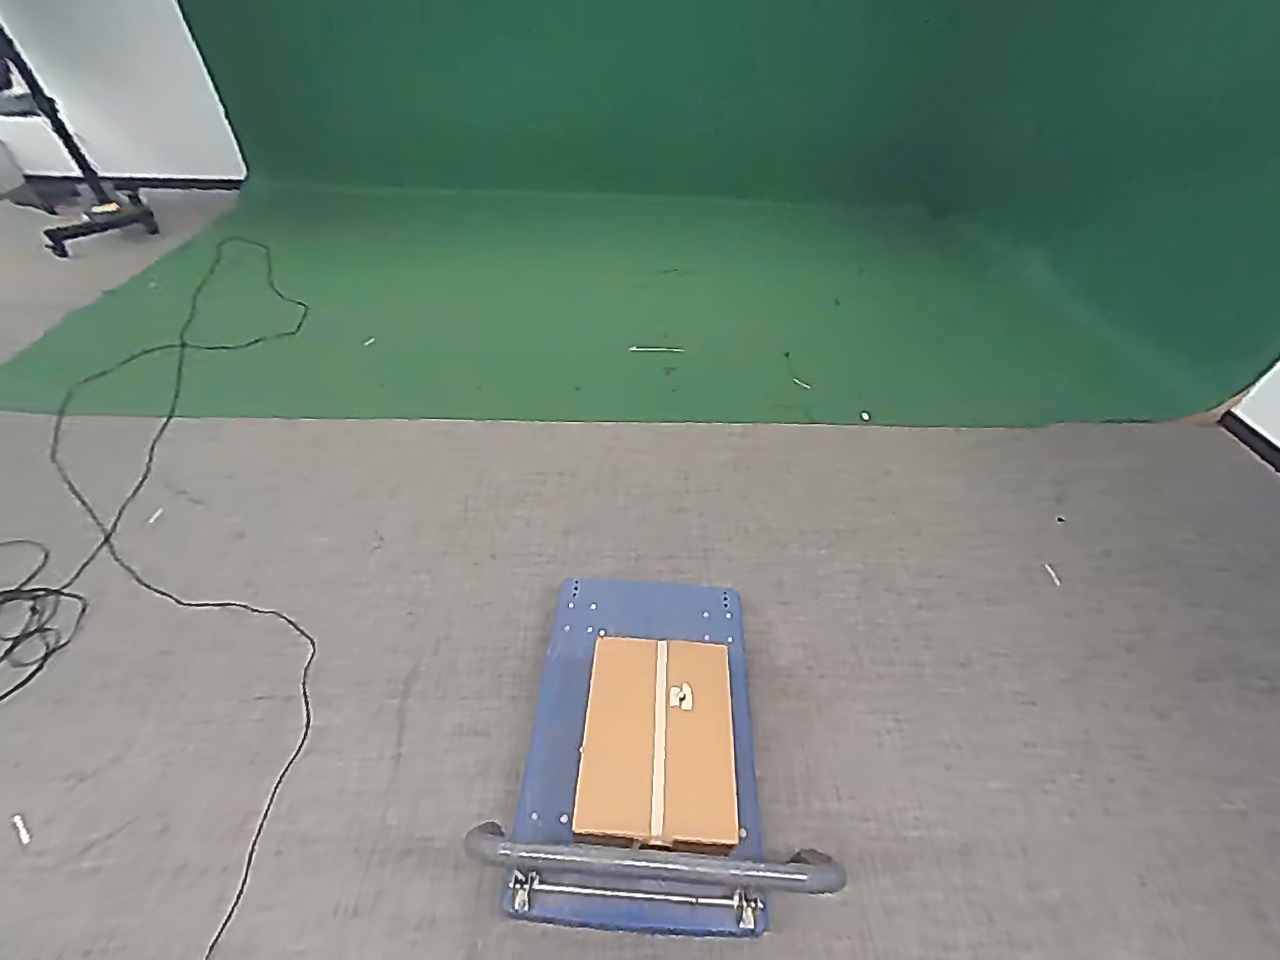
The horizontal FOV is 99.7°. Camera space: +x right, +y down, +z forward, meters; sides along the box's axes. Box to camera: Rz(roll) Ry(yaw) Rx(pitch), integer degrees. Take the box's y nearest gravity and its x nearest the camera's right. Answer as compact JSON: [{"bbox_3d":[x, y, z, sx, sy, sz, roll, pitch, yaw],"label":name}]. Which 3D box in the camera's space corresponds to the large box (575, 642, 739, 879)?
[{"bbox_3d":[0.034,0.637,1.240,0.320,0.320,0.408,4,43,0],"label":"large box"}]
